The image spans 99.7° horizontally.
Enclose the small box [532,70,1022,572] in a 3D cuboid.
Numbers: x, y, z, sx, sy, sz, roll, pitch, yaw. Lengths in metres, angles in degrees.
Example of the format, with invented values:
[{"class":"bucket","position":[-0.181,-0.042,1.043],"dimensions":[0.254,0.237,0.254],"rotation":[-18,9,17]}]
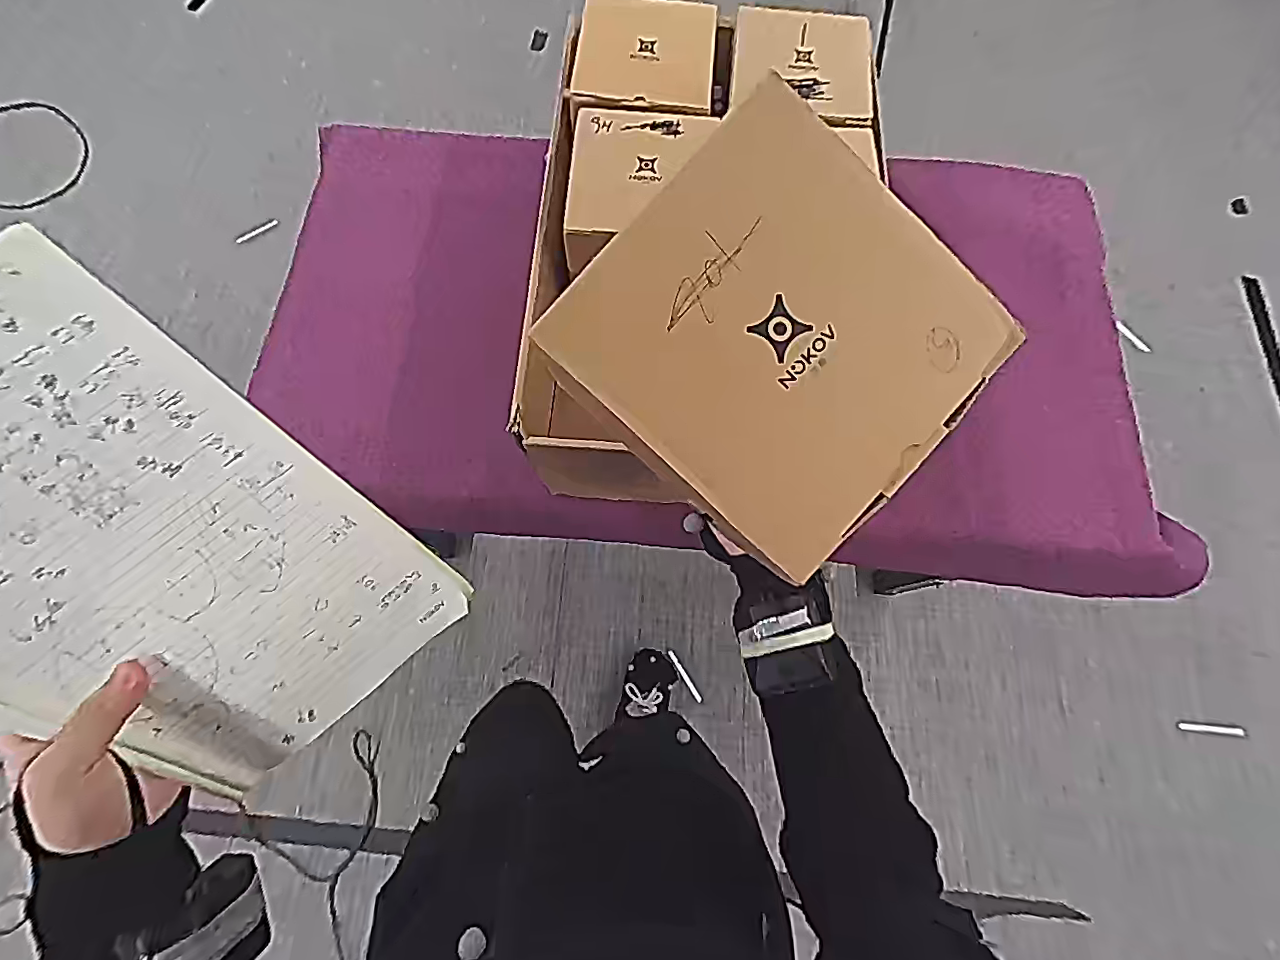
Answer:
[{"class":"small box","position":[0.062,-0.075,0.331],"dimensions":[0.179,0.176,0.168],"rotation":[41,89,-4]}]
